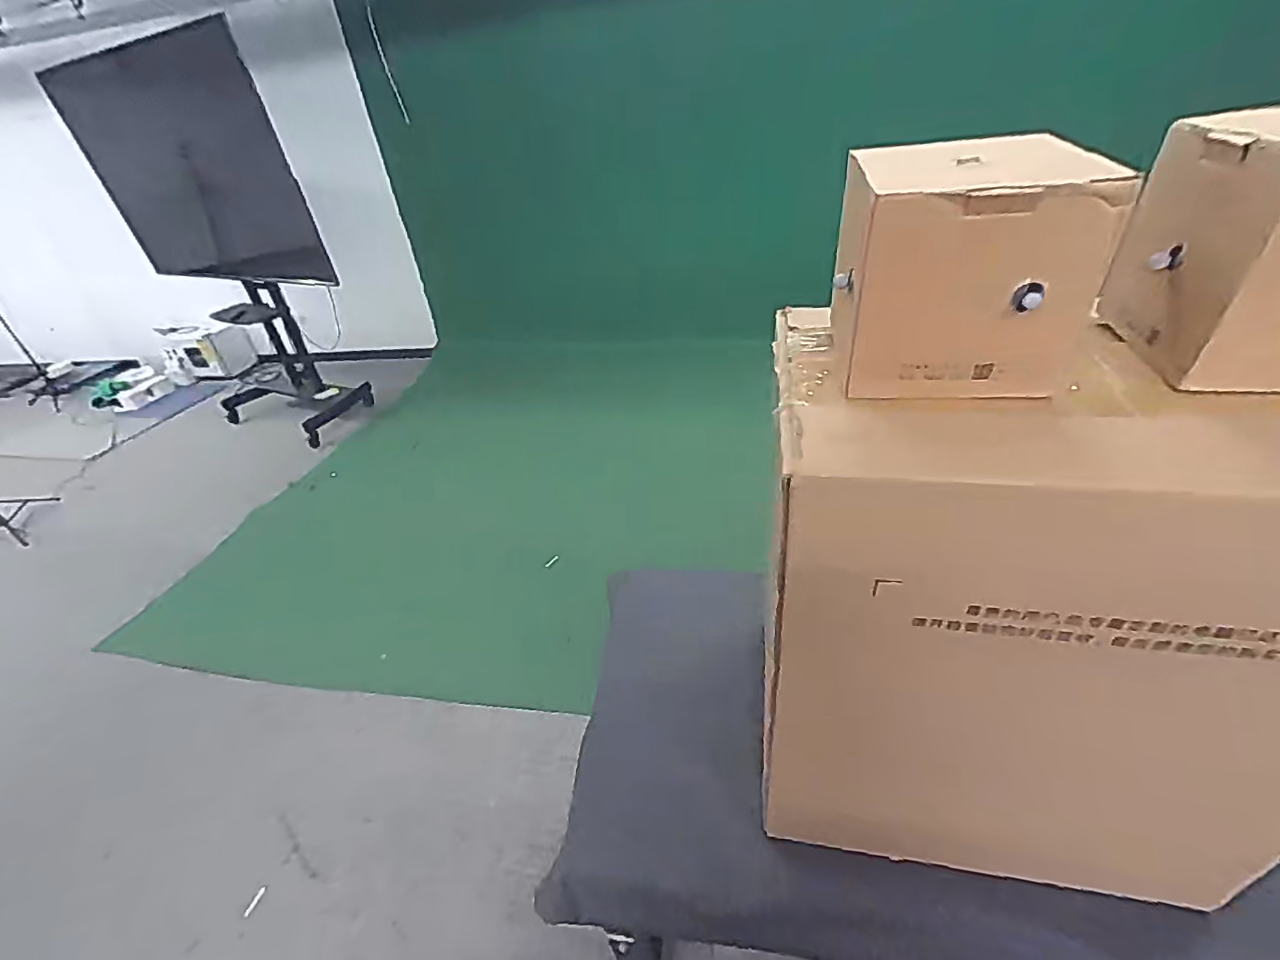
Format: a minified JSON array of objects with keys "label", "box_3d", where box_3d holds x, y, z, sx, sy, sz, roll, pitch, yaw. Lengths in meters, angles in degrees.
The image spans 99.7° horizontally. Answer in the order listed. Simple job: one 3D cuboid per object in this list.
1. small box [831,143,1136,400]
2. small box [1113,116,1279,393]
[{"label":"small box","box_3d":[0.269,-0.182,0.479,0.168,0.176,0.179,2,38,12]},{"label":"small box","box_3d":[0.519,-0.177,0.421,0.179,0.176,0.168,1,40,14]}]
